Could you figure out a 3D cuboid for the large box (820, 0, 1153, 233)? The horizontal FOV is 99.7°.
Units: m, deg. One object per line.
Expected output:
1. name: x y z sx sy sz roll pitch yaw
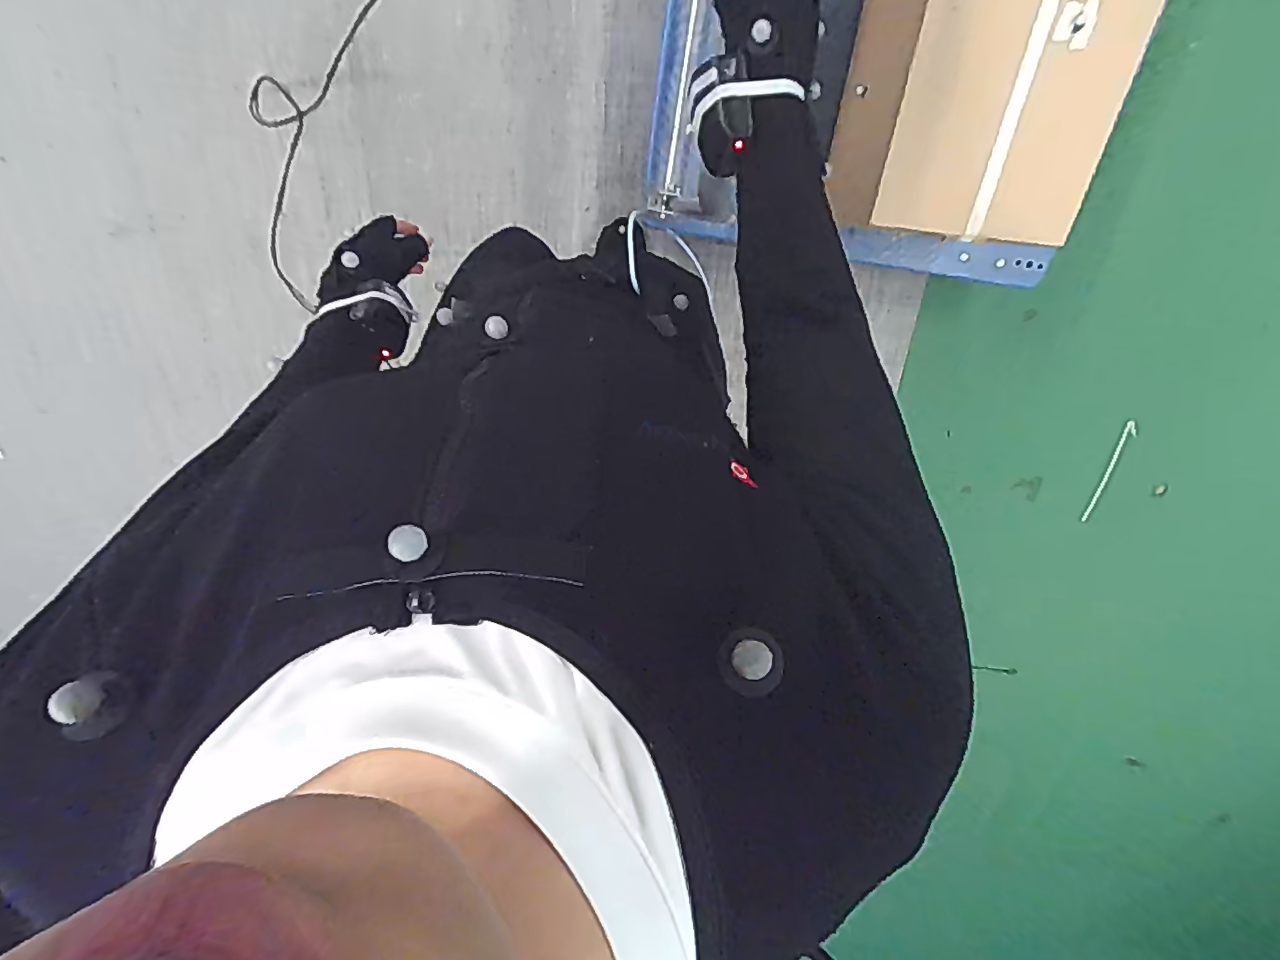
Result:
1. large box: 0.527 -0.639 0.888 0.320 0.320 0.408 6 116 -3
